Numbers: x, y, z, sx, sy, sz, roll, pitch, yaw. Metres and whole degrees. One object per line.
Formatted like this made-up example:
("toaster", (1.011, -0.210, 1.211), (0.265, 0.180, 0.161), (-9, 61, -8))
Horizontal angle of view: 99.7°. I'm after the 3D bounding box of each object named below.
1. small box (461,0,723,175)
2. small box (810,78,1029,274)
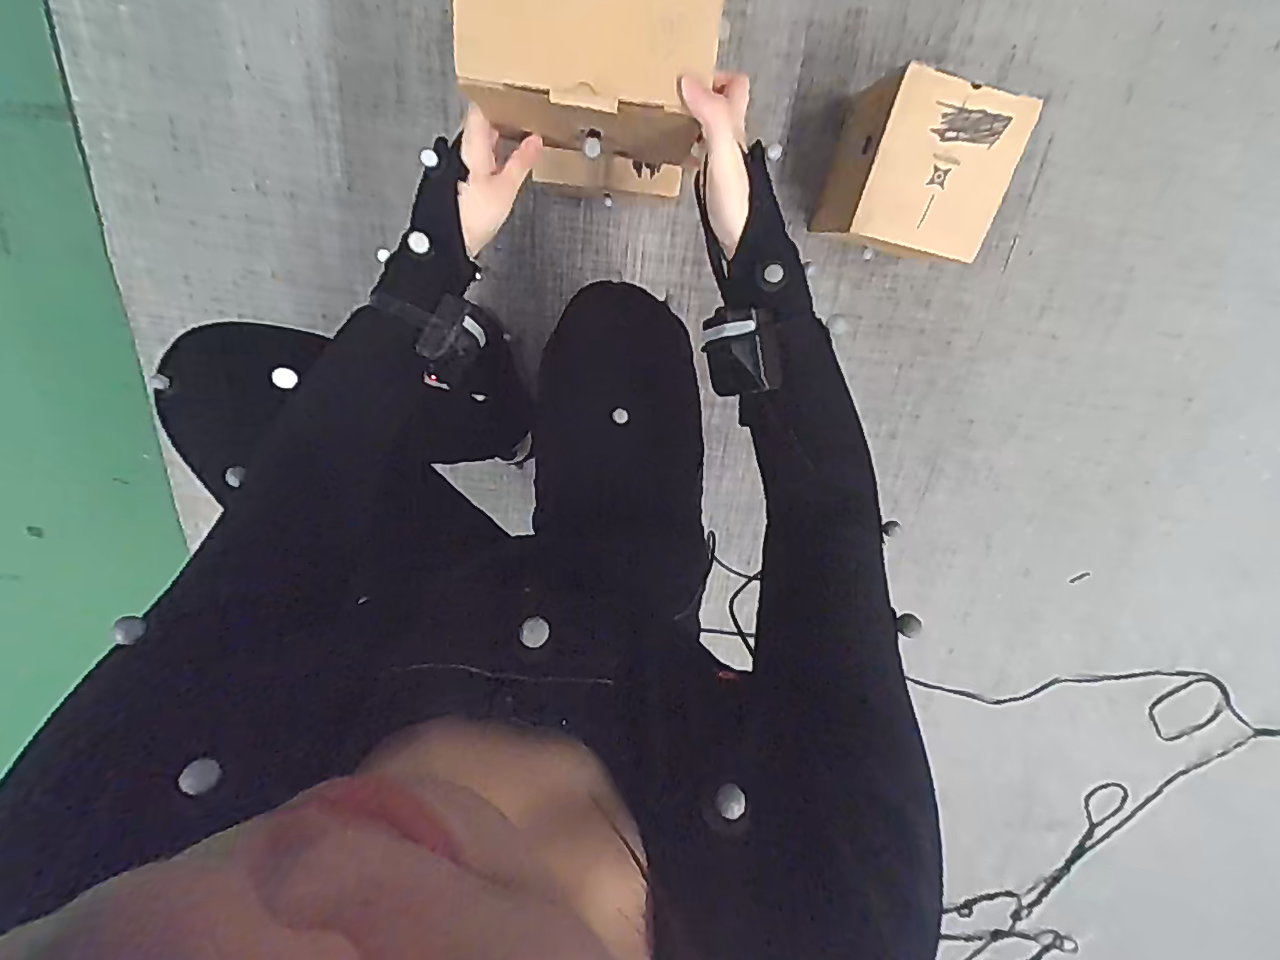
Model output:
("small box", (-0.028, -0.345, 0.405), (0.168, 0.176, 0.179), (6, 110, -4))
("small box", (0.343, -0.382, 0.708), (0.168, 0.176, 0.179), (11, 113, -6))
